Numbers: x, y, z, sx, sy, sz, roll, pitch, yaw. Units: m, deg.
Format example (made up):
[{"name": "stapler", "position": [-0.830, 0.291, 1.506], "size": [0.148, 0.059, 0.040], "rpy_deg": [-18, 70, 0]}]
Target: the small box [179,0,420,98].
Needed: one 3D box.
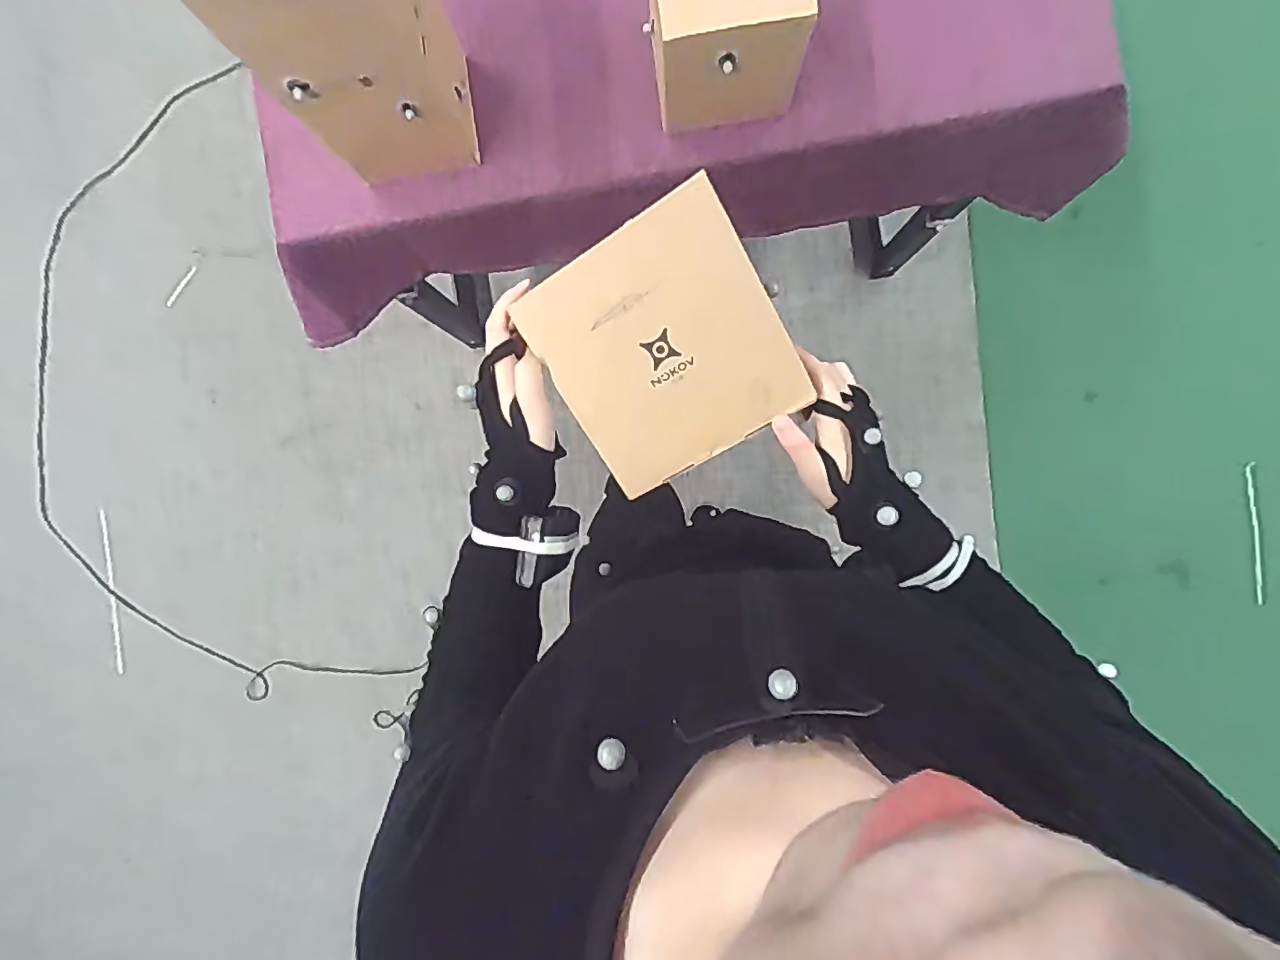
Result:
[{"name": "small box", "position": [-0.338, -0.520, 0.538], "size": [0.168, 0.176, 0.179], "rpy_deg": [-9, 88, 2]}]

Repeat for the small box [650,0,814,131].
[{"name": "small box", "position": [0.104, -0.576, 0.681], "size": [0.179, 0.176, 0.168], "rpy_deg": [-7, 90, 3]}]

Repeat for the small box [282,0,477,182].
[{"name": "small box", "position": [-0.333, -0.517, 0.702], "size": [0.179, 0.176, 0.168], "rpy_deg": [-9, 90, 1]}]
